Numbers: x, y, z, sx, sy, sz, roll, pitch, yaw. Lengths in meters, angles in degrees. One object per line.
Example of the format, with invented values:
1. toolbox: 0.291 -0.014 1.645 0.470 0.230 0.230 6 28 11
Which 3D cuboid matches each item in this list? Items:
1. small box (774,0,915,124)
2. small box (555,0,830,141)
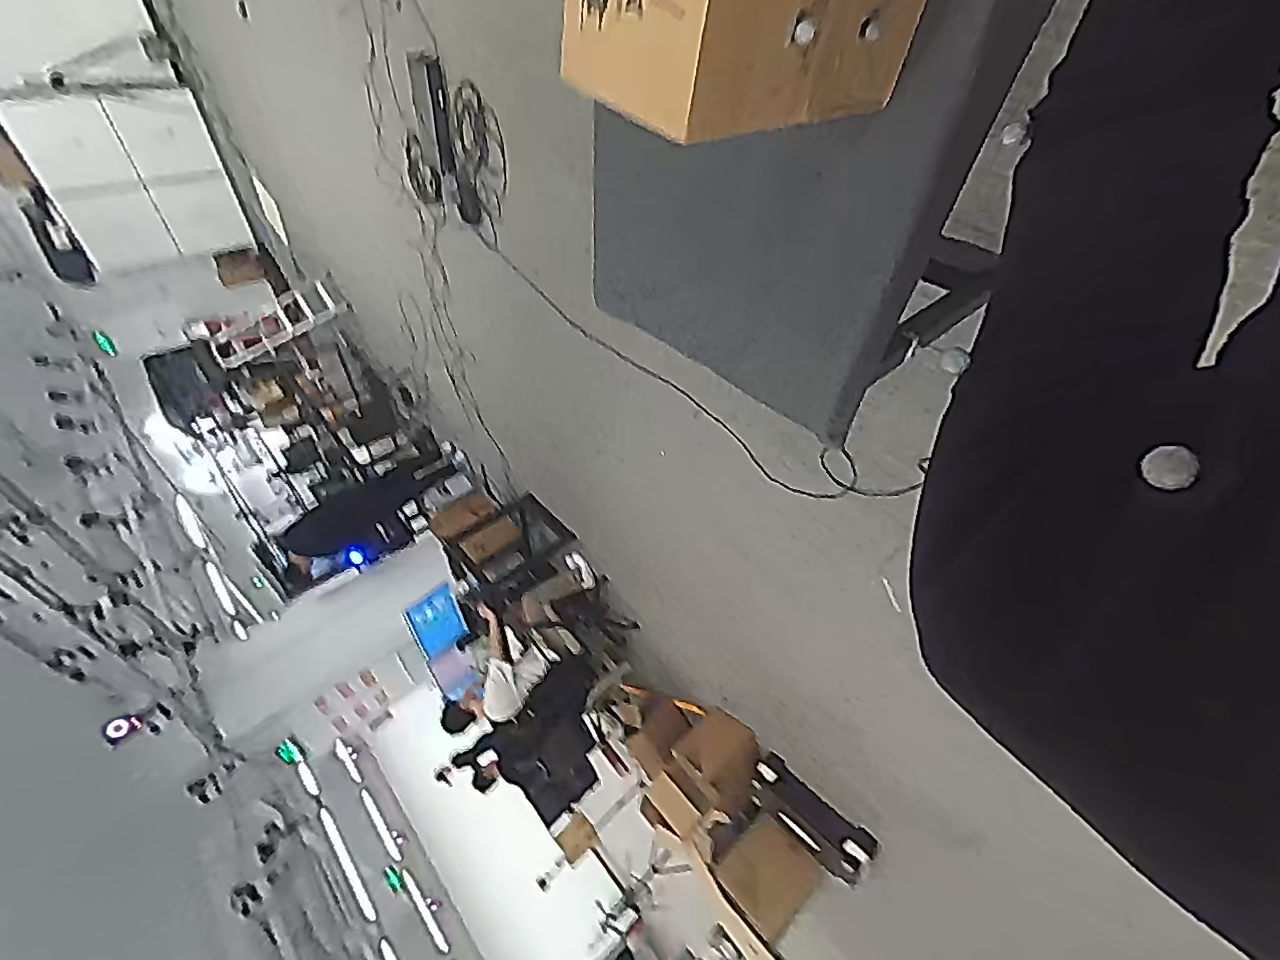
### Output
1. small box: 0.170 -0.499 0.555 0.168 0.176 0.179 42 146 27
2. small box: 0.046 -0.426 0.474 0.179 0.176 0.168 43 146 24
